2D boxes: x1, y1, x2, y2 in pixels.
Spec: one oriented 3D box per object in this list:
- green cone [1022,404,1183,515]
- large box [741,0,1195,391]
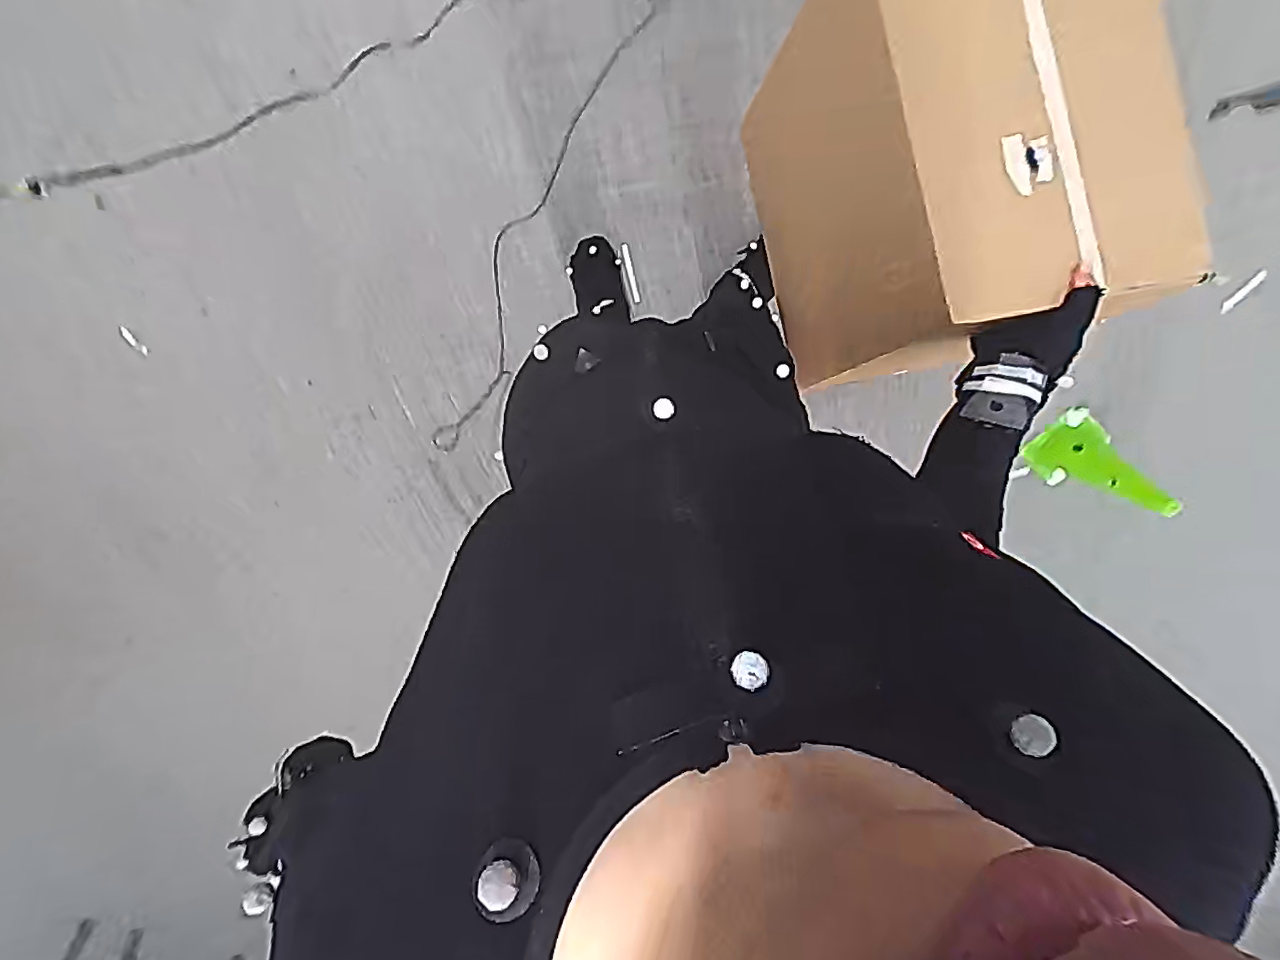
[{"bbox_3d":[1.275,-0.020,1.460,0.202,0.368,0.200,32,113,-21],"label":"green cone"},{"bbox_3d":[0.357,-0.357,0.674,0.320,0.320,0.408,-12,91,-9],"label":"large box"}]
